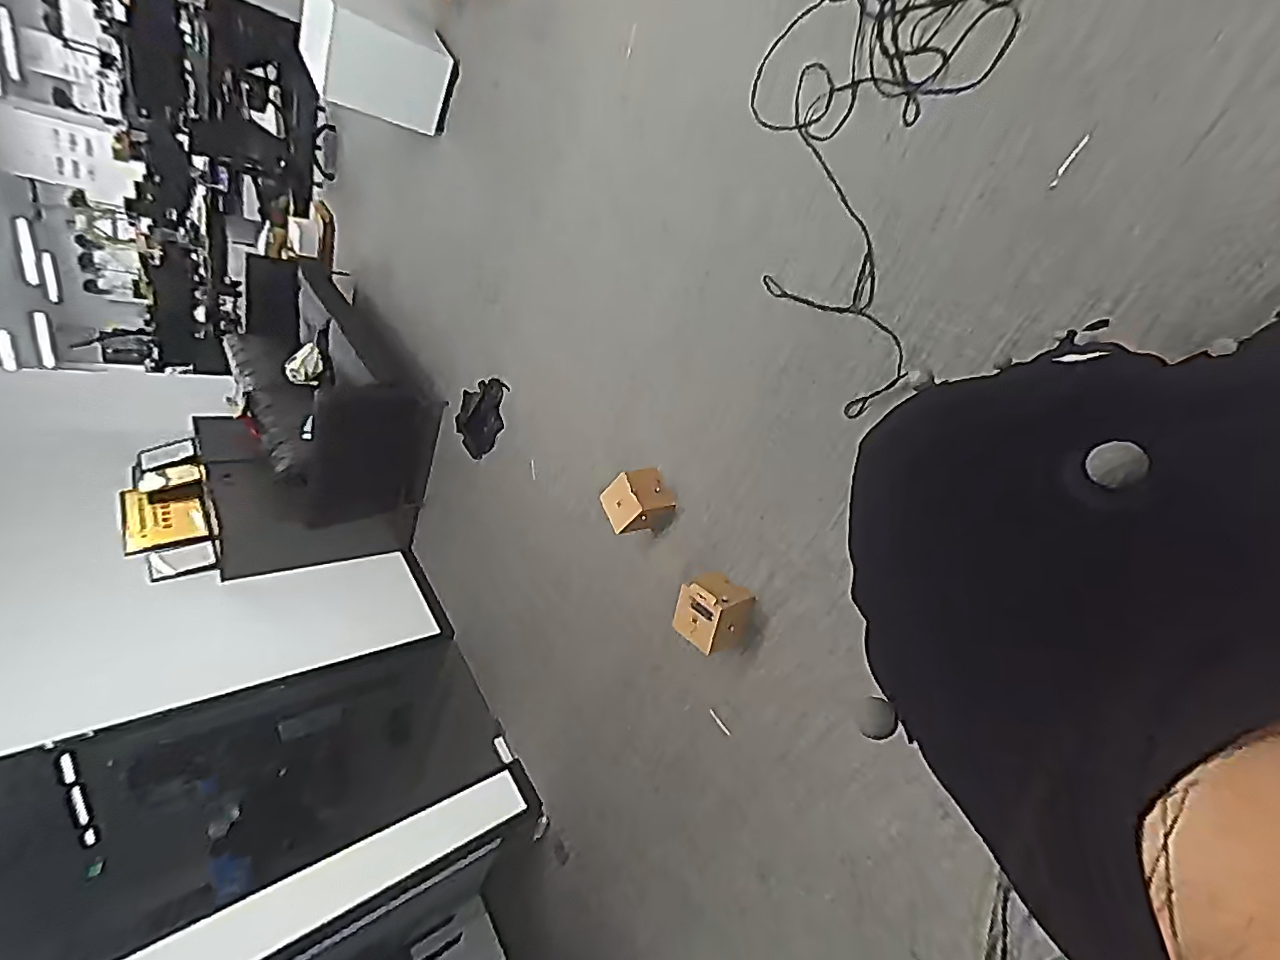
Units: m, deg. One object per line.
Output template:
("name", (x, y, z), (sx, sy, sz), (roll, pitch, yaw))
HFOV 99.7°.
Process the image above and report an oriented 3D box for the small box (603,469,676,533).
("small box", (0.001, 0.075, 1.967), (0.179, 0.176, 0.168), (-46, 61, 40))
